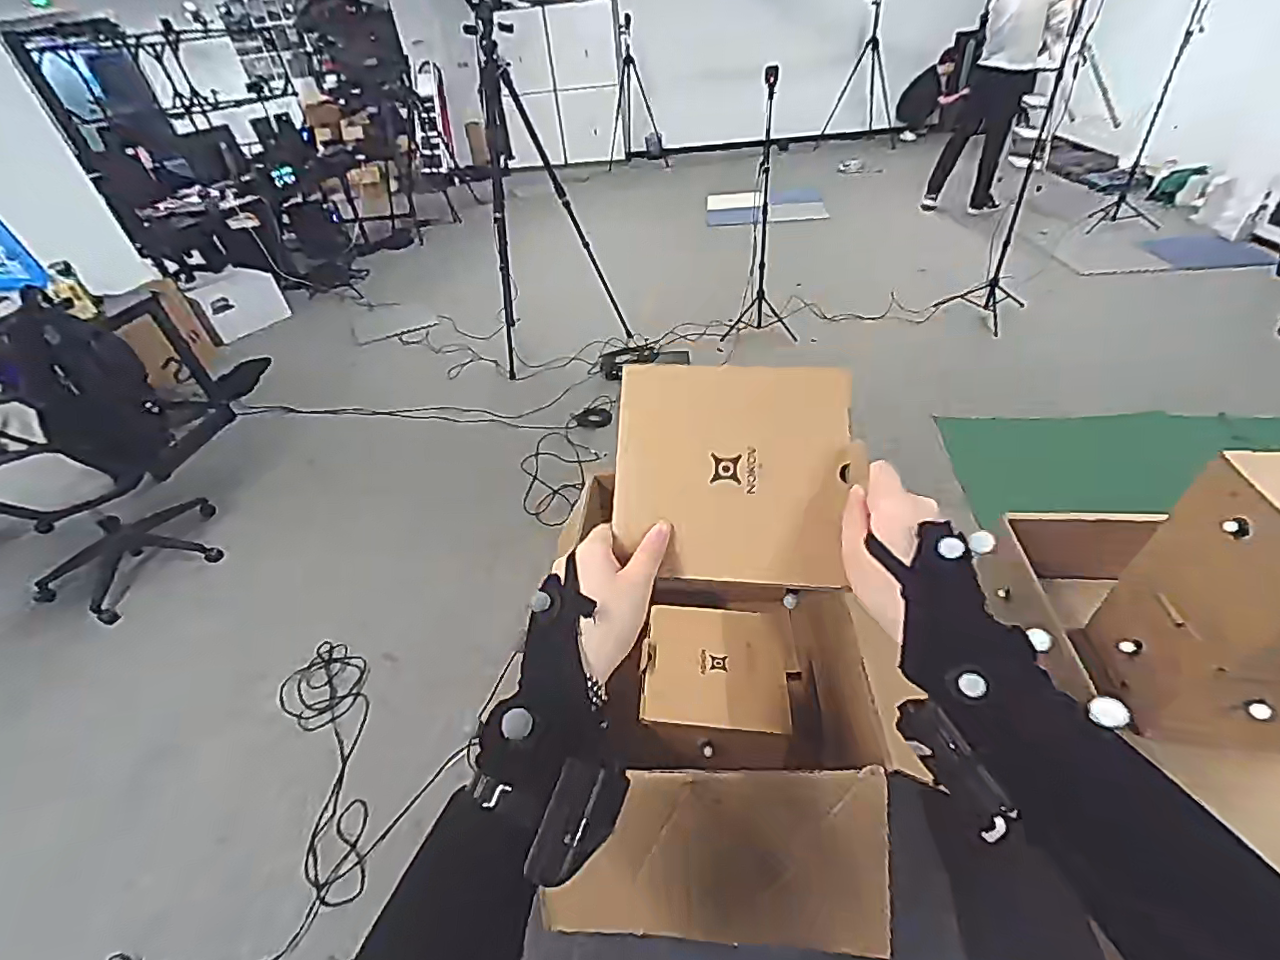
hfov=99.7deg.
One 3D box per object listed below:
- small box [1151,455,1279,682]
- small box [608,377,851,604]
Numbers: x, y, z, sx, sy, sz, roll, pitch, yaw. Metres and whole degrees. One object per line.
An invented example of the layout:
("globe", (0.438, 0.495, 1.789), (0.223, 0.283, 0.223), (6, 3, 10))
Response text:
("small box", (0.702, 0.093, 0.563), (0.168, 0.176, 0.179), (1, 41, 10))
("small box", (0.075, 0.020, 0.485), (0.179, 0.176, 0.168), (2, 74, 6))
